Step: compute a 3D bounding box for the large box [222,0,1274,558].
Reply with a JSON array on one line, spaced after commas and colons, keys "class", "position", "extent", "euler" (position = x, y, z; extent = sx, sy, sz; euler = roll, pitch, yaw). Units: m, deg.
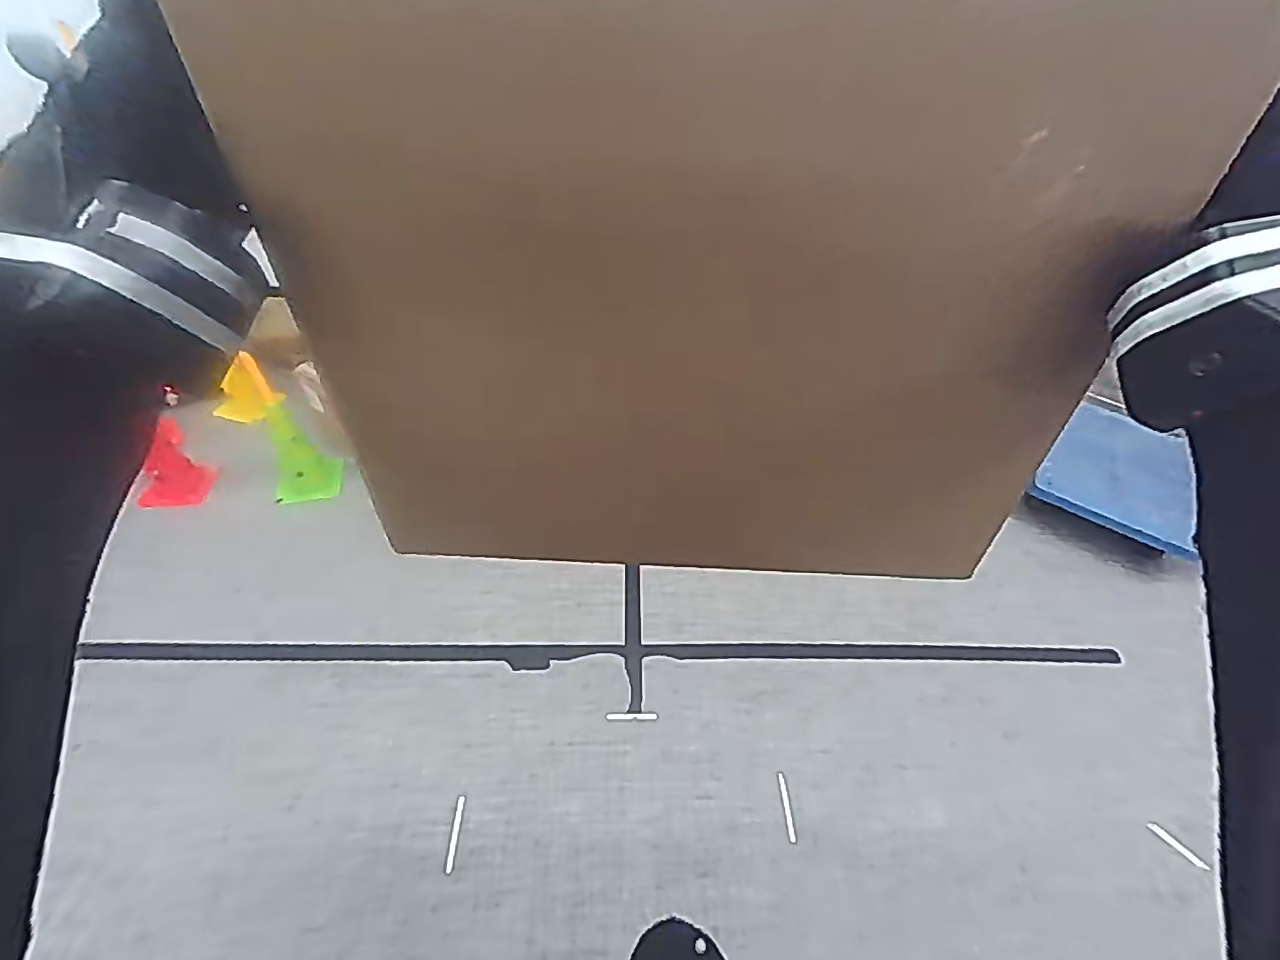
[{"class": "large box", "position": [0.036, -0.158, 0.406], "extent": [0.408, 0.320, 0.320], "euler": [3, 41, 1]}]
